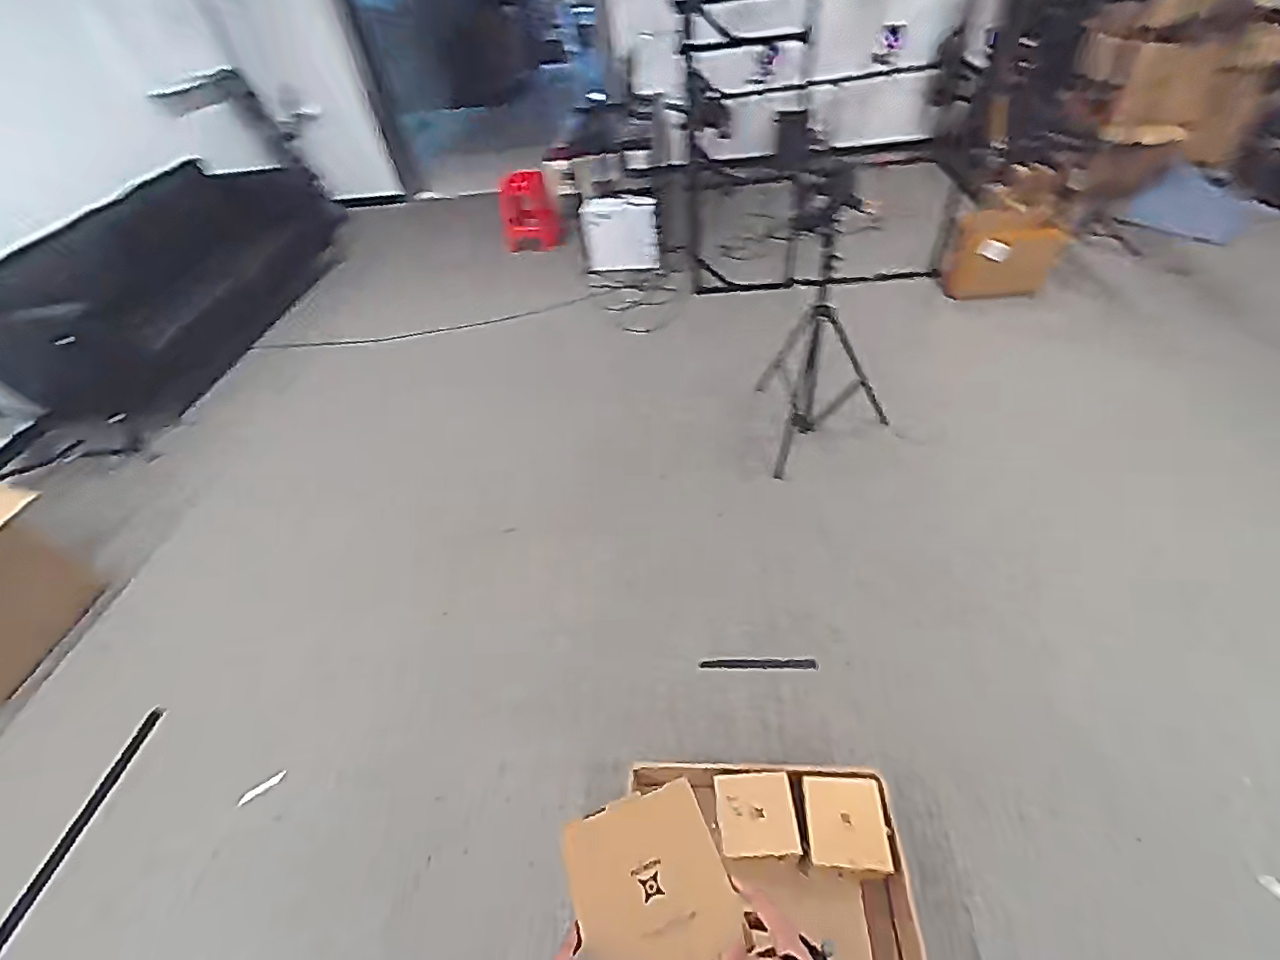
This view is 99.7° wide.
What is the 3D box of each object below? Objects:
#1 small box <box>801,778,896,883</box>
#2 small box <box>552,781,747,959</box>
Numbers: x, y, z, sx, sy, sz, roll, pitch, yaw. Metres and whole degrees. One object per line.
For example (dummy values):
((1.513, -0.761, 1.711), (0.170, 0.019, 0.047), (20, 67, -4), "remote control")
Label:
((0.474, 0.816, 1.259), (0.168, 0.176, 0.179), (-2, 48, 9), "small box")
((0.001, 0.499, 0.632), (0.168, 0.176, 0.179), (-14, 43, -17), "small box")
